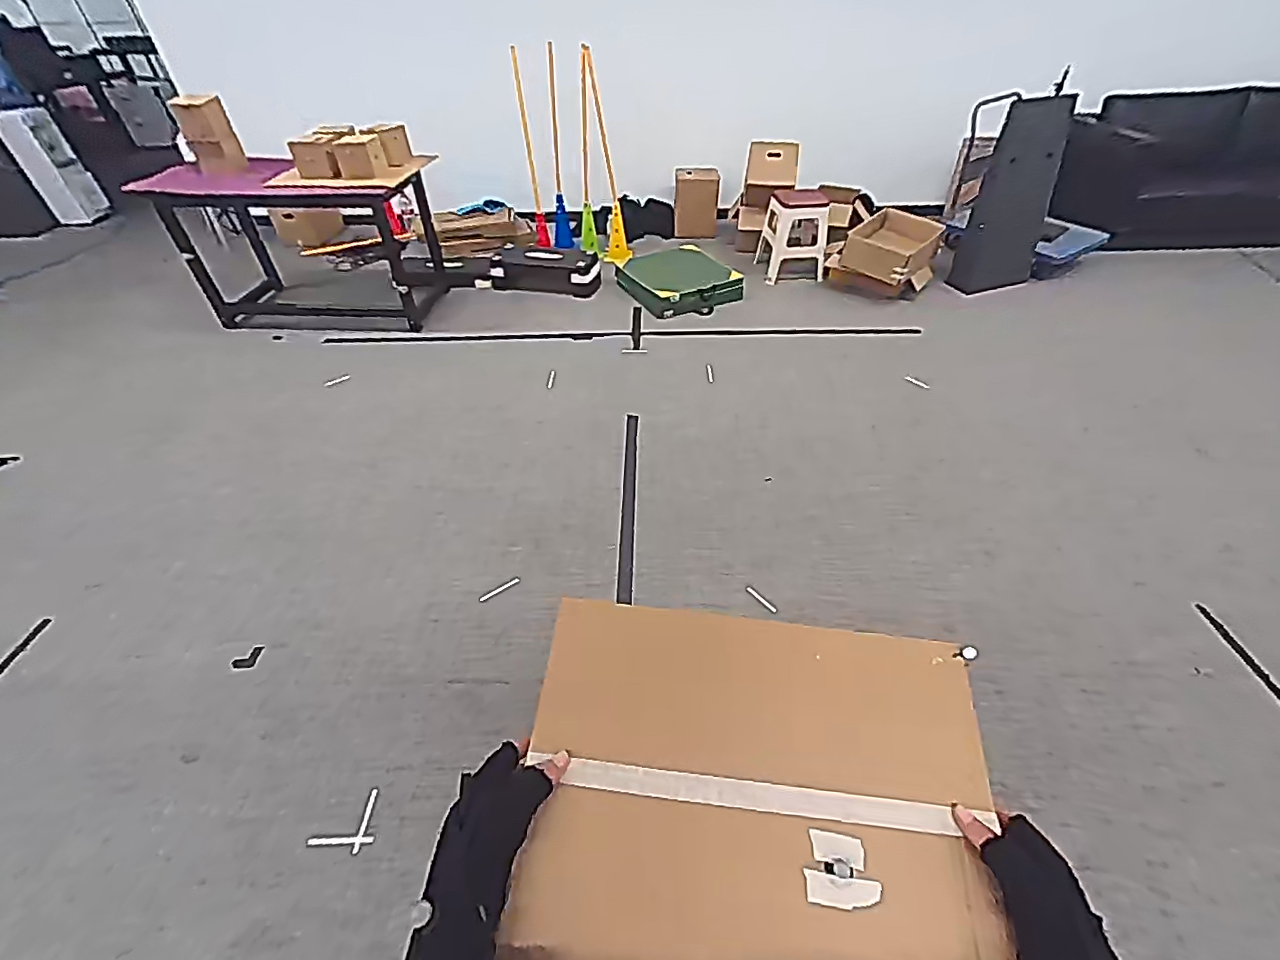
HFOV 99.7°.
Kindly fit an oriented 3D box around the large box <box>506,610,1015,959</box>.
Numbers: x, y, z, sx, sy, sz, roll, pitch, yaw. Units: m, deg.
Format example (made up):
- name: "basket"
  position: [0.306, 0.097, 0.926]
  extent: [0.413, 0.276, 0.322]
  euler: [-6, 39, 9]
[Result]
- name: "large box"
  position: [0.105, 0.365, 0.605]
  extent: [0.408, 0.320, 0.320]
  euler: [6, 57, 4]
